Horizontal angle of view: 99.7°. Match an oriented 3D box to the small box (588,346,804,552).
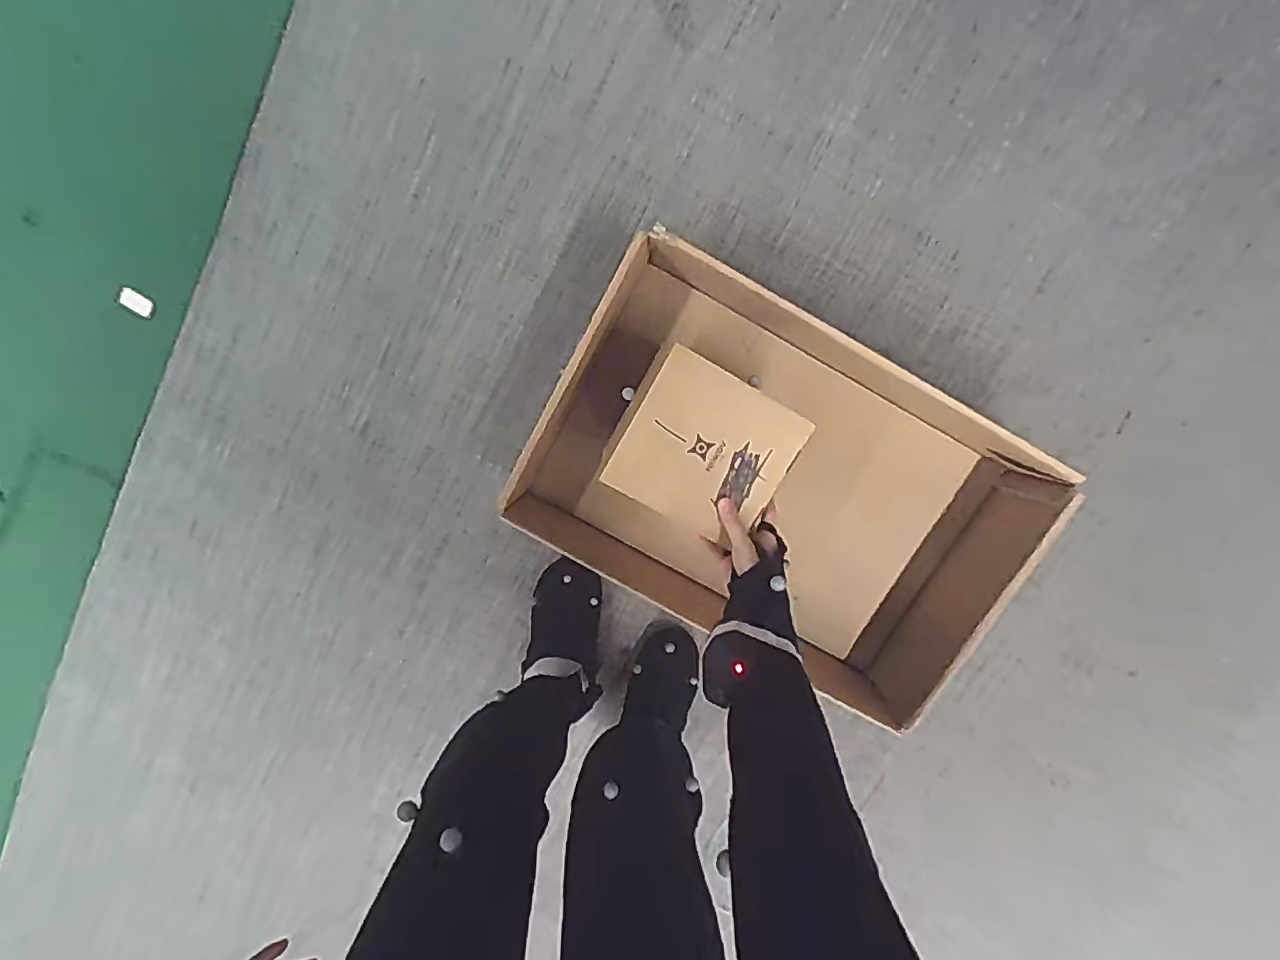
[{"bbox_3d":[0.059,-0.047,0.648,0.179,0.176,0.168,30,101,-6],"label":"small box"}]
